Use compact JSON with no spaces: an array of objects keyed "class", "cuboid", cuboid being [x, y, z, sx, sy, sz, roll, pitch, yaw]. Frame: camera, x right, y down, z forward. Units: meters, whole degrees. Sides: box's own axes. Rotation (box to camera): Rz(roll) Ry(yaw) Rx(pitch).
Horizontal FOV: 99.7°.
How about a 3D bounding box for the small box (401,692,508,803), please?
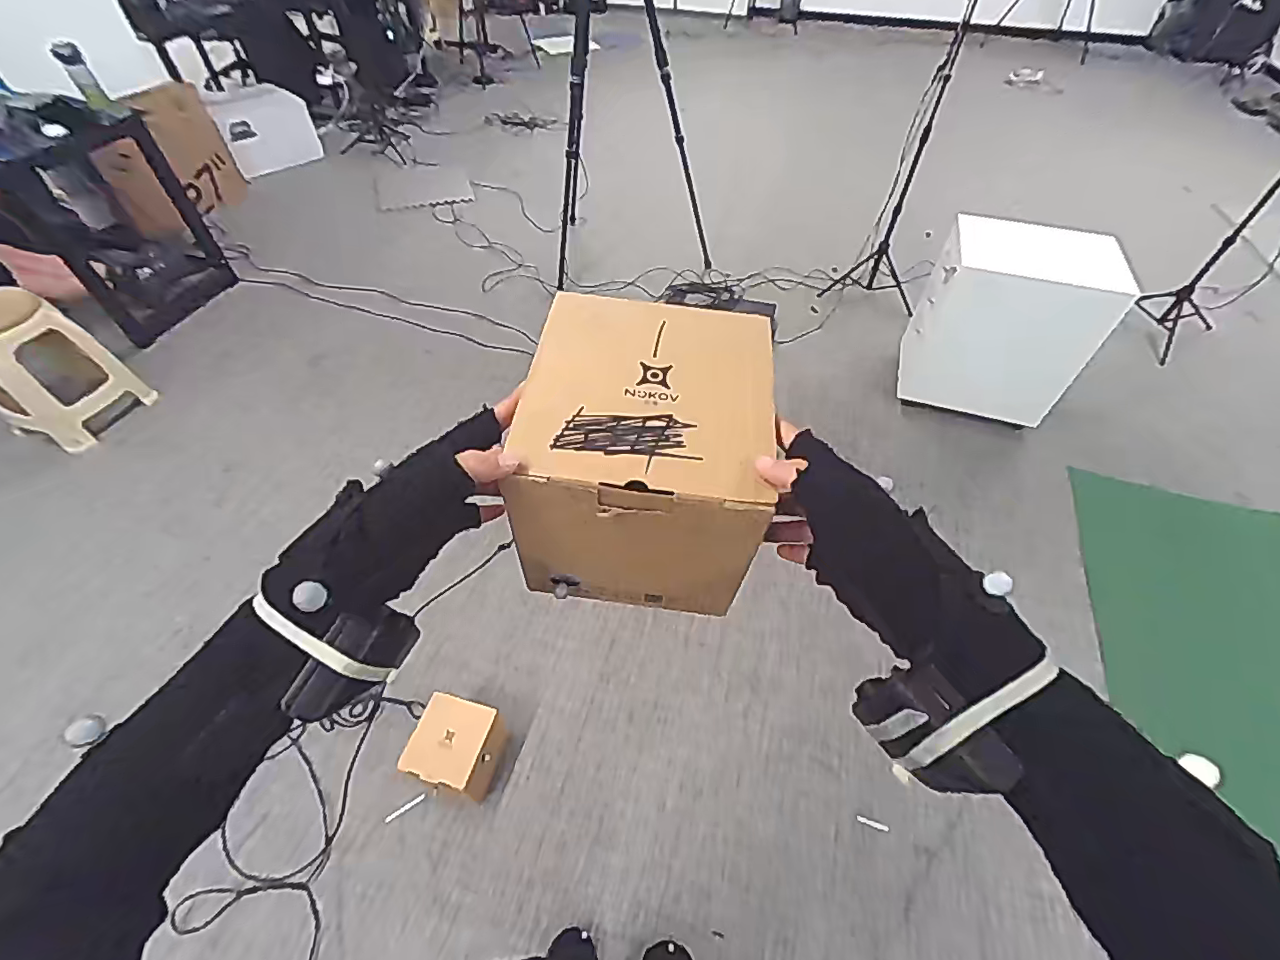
[{"class":"small box","cuboid":[-0.427,0.636,1.282,0.168,0.176,0.179,12,52,10]}]
